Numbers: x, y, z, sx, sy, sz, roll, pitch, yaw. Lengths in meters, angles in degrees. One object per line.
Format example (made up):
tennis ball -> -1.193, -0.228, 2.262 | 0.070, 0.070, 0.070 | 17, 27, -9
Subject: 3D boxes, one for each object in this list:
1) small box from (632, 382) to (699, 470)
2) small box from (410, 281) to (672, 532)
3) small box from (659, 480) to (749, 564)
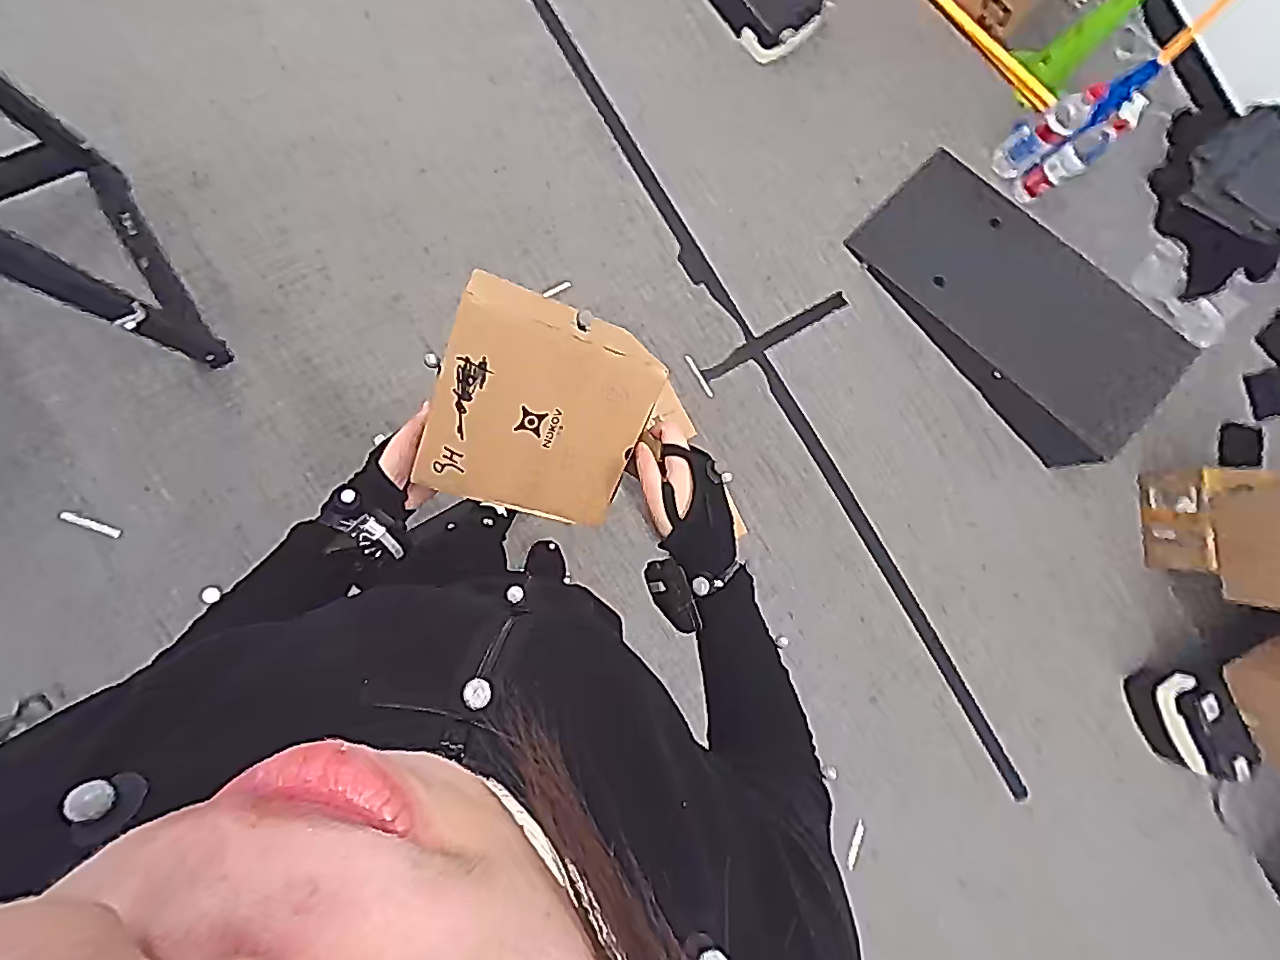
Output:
small box -> 0.030, -0.137, 1.455 | 0.179, 0.176, 0.168 | -28, 91, -10
small box -> -0.100, -0.076, 0.514 | 0.179, 0.176, 0.168 | 16, 110, -23
small box -> 0.162, 0.112, 1.461 | 0.179, 0.176, 0.168 | -25, 91, -10
